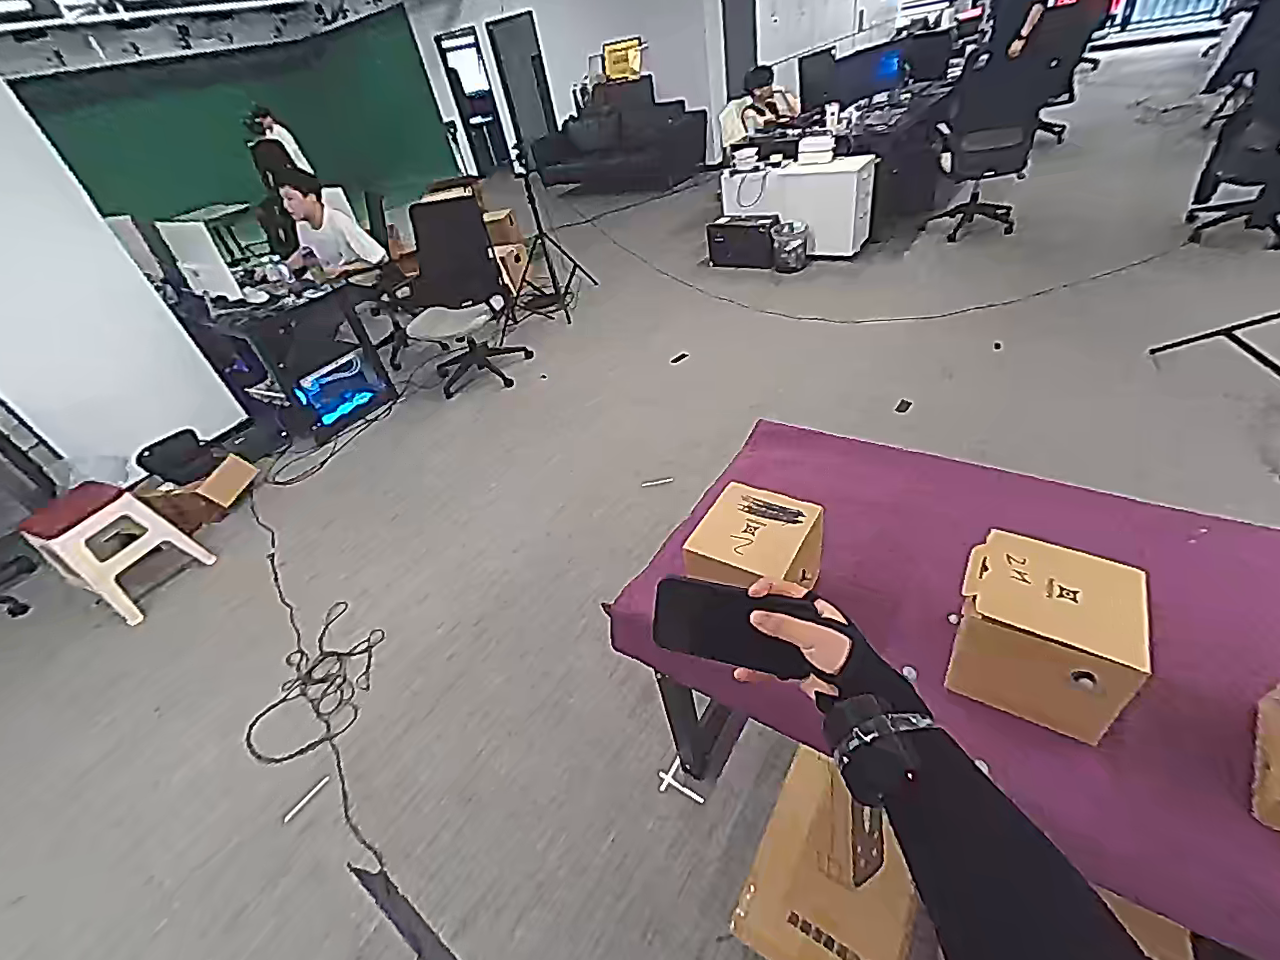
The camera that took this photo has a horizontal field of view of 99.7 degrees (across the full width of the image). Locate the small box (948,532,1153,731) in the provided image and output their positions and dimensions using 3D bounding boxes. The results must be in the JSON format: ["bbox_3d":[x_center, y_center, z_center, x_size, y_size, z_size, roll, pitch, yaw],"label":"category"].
[{"bbox_3d":[0.538,0.202,0.724,0.179,0.176,0.168,15,44,31],"label":"small box"}]

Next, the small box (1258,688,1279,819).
[{"bbox_3d":[0.788,0.291,0.548,0.179,0.176,0.168,22,50,35],"label":"small box"}]
